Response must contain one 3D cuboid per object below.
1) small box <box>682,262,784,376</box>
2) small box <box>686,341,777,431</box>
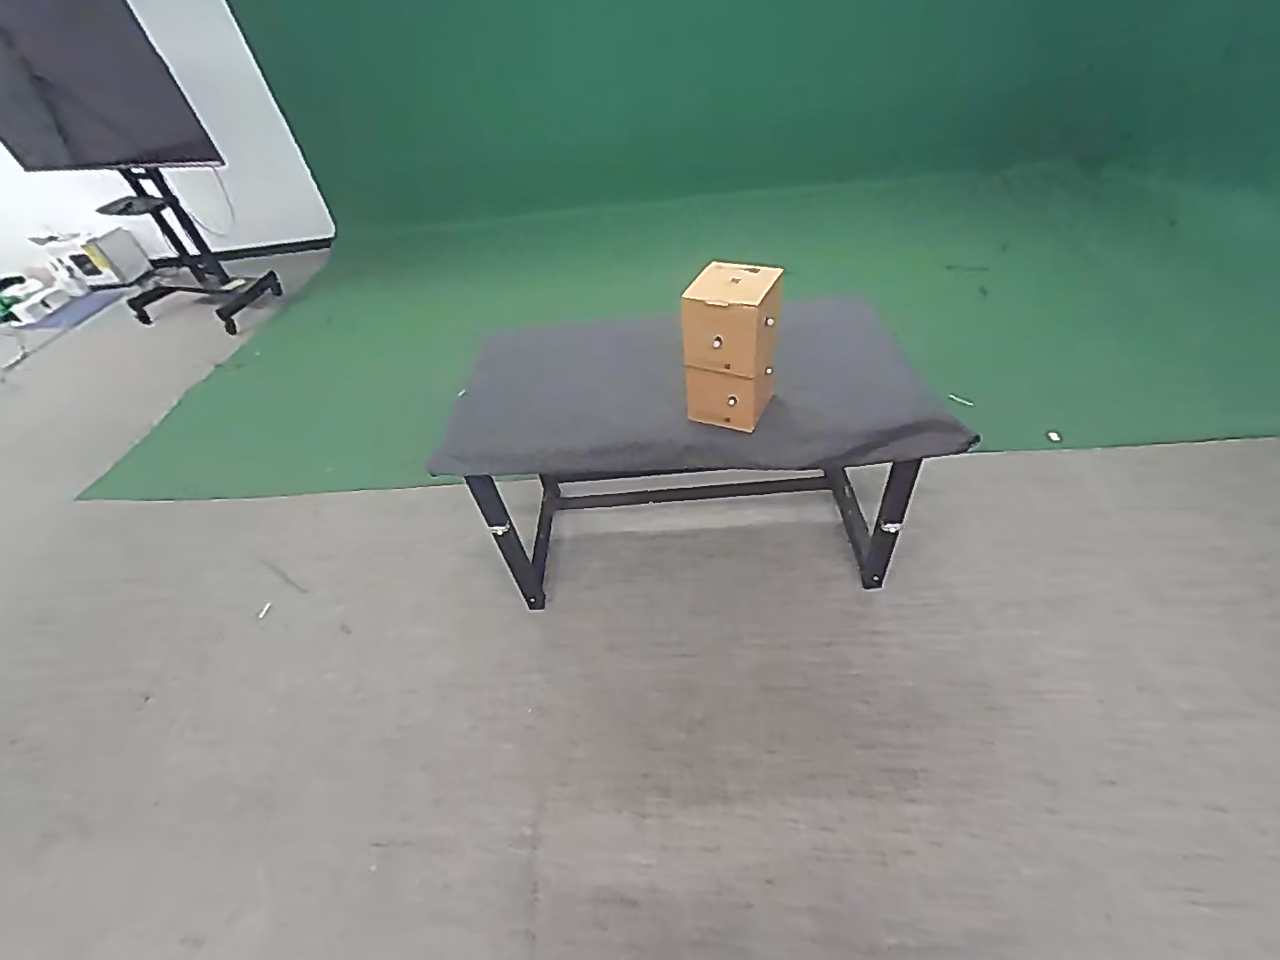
[{"bbox_3d":[0.205,-0.350,1.181,0.168,0.176,0.179,17,51,23],"label":"small box"},{"bbox_3d":[0.223,-0.243,1.304,0.168,0.176,0.179,16,49,22],"label":"small box"}]
